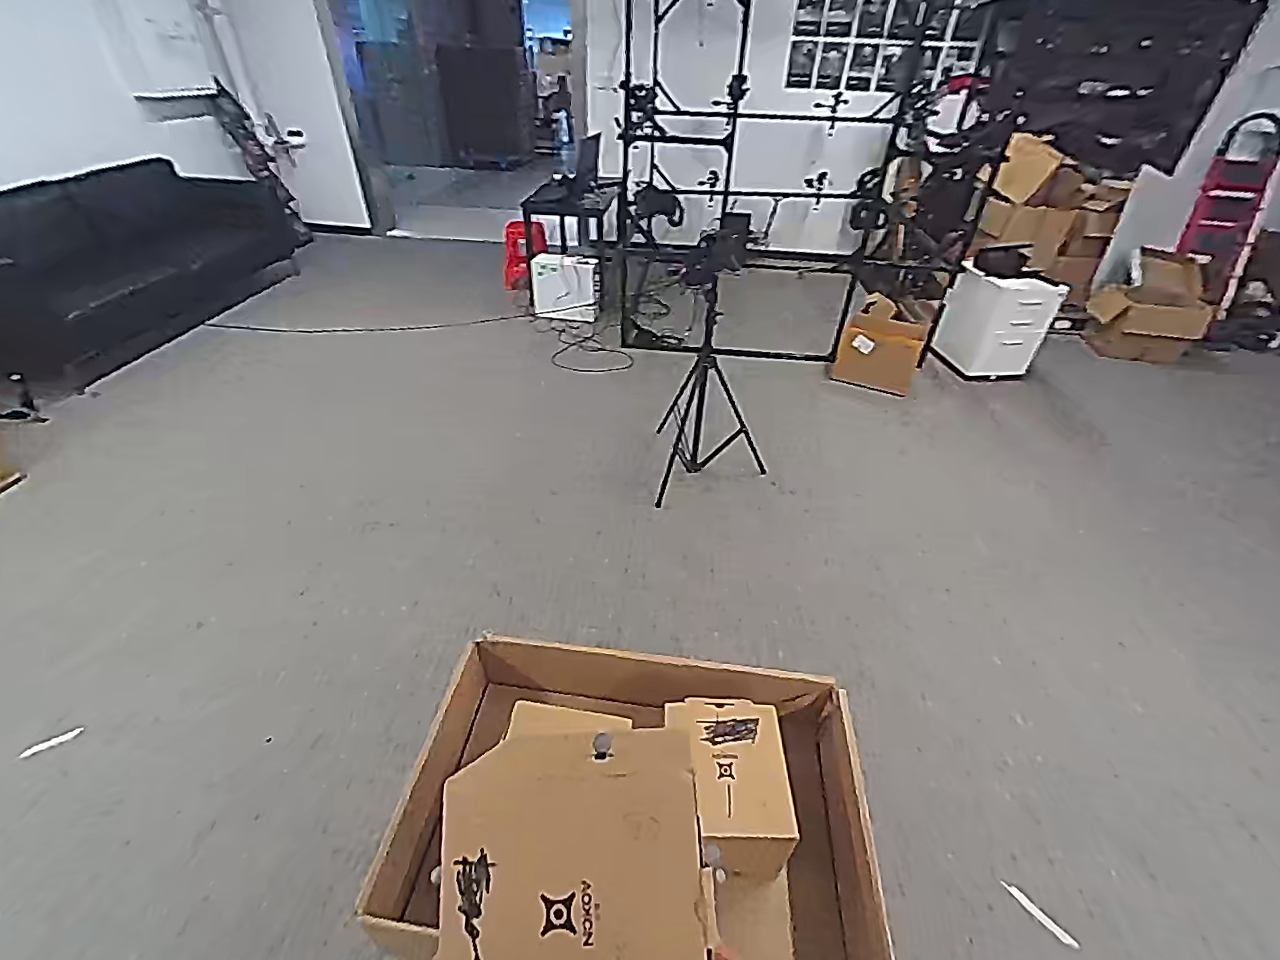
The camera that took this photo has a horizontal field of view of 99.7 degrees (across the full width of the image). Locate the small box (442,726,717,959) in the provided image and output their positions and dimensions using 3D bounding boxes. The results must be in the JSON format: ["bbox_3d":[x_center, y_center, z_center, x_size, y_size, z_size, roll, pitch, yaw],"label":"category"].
[{"bbox_3d":[-0.040,0.298,0.425,0.179,0.176,0.168,-4,73,0],"label":"small box"}]
